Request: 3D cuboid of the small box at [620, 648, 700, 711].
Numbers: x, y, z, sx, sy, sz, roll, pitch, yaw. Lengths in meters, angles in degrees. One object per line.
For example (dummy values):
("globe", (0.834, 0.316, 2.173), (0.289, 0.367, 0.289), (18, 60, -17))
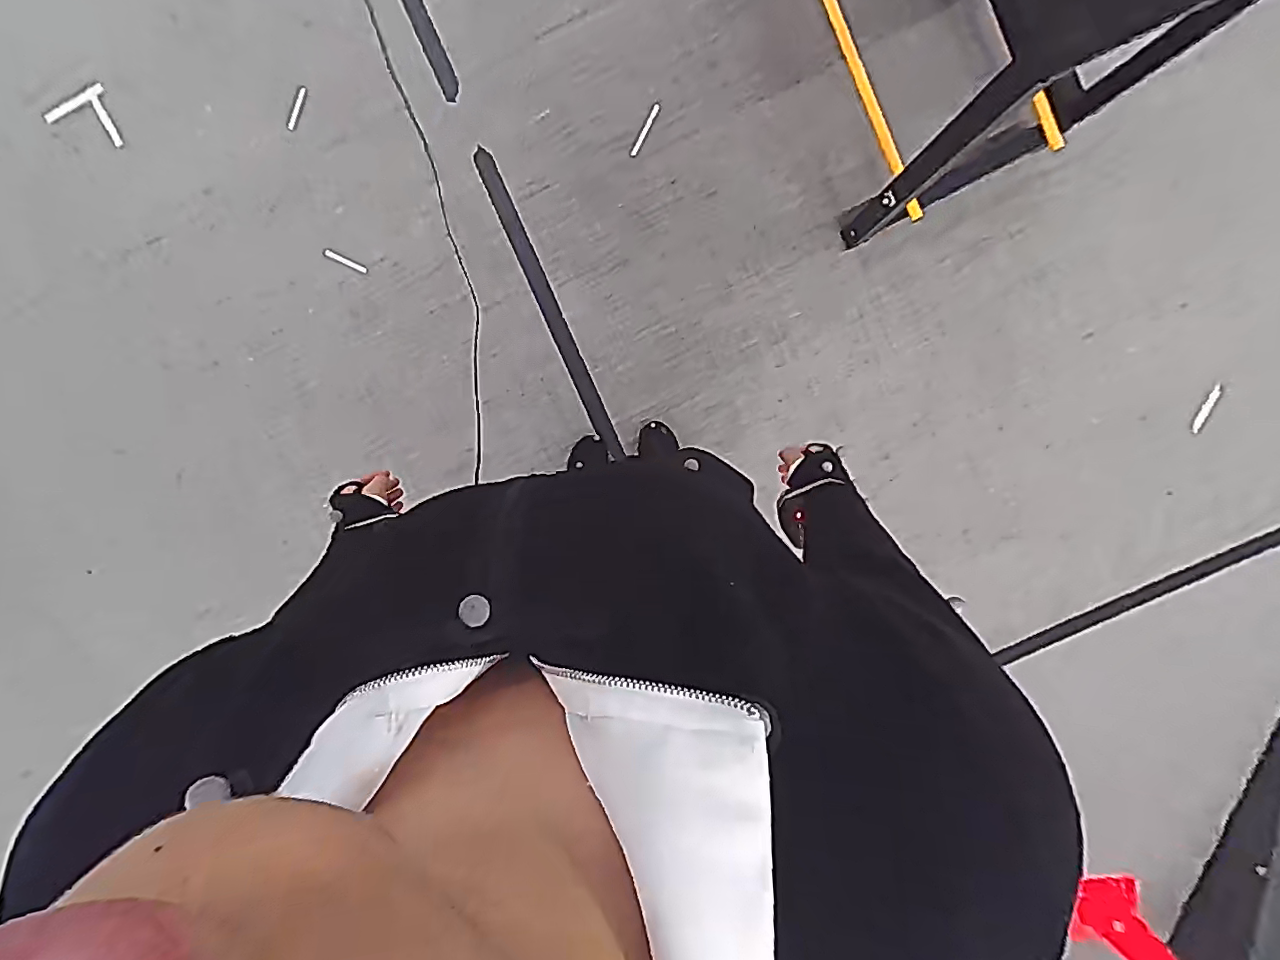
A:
("small box", (0.055, 0.578, 1.469), (0.168, 0.176, 0.179), (-23, 94, 3))
